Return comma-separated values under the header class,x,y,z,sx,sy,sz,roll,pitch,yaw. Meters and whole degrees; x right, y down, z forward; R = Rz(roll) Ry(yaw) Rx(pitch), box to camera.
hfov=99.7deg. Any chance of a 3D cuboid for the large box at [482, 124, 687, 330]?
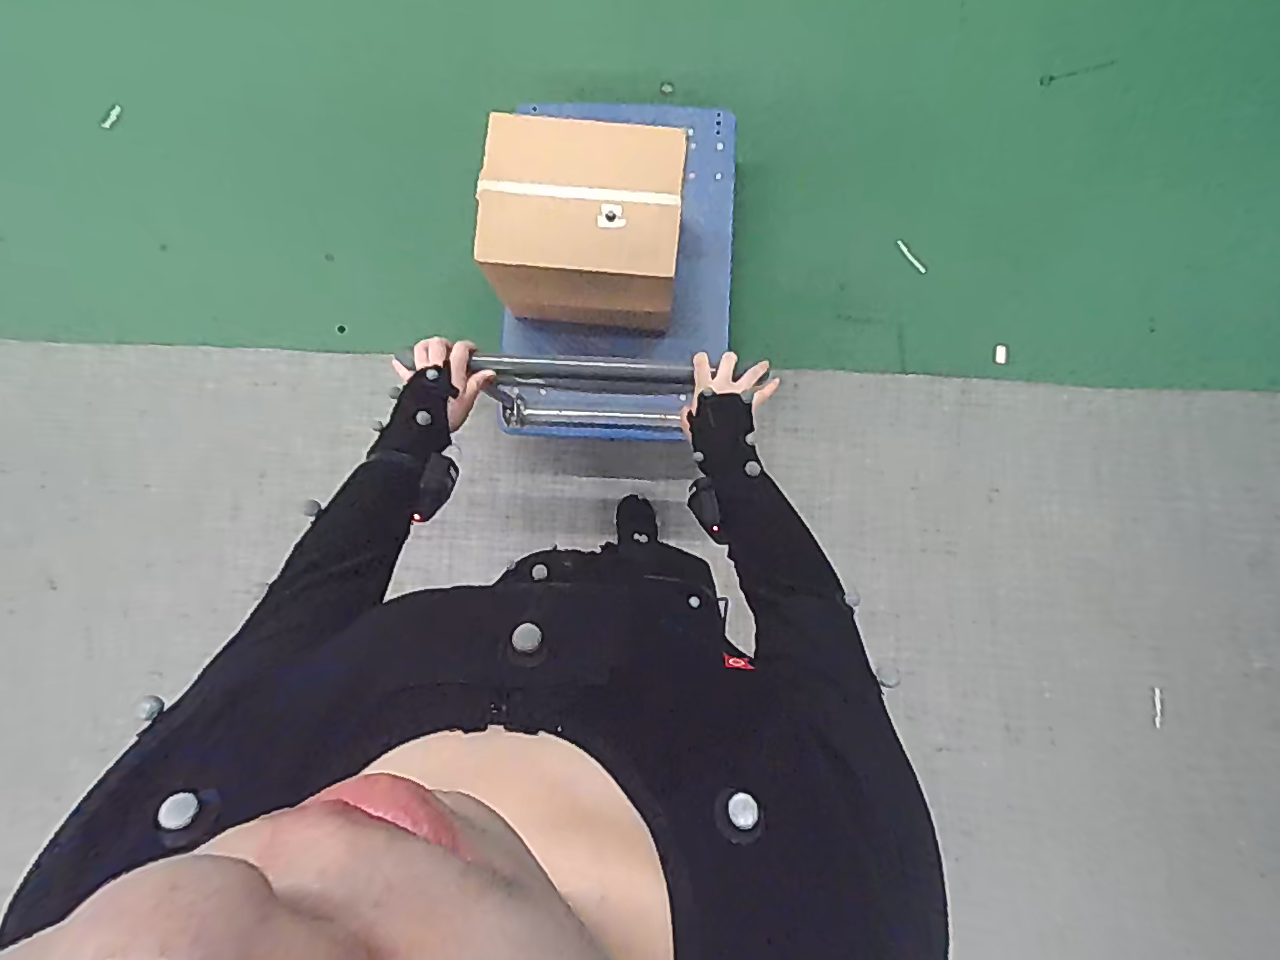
class,x,y,z,sx,sy,sz,roll,pitch,yaw
large box,-0.114,-0.559,1.251,0.408,0.320,0.320,5,86,0
